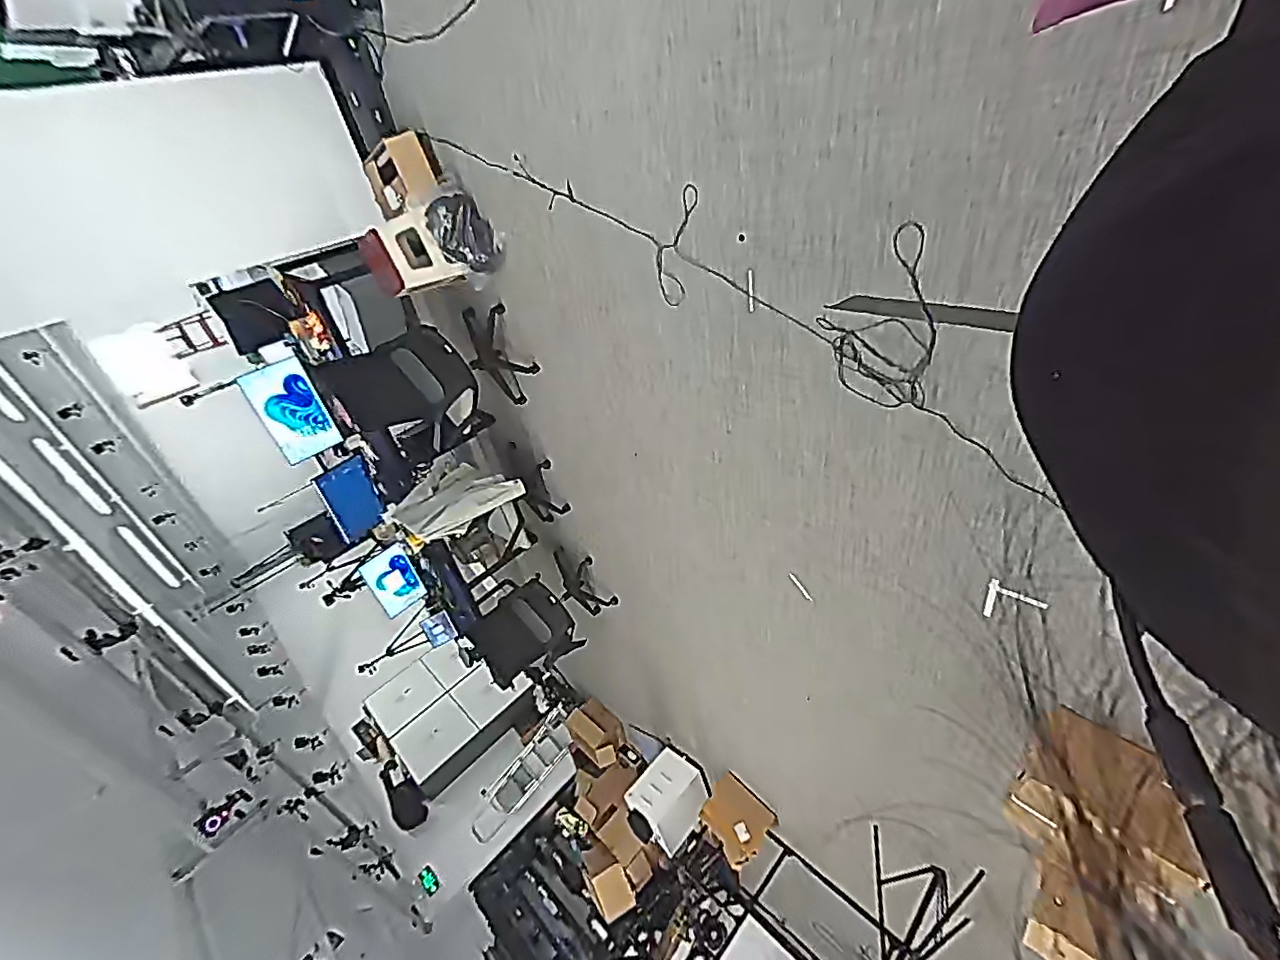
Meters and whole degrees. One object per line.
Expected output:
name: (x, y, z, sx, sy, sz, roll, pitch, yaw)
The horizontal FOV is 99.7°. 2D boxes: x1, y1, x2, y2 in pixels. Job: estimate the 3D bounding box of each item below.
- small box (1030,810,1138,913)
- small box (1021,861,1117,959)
small box: (1.278, 1.103, 1.556, 0.179, 0.176, 0.168, 31, 142, 33)
small box: (1.172, 1.200, 1.478, 0.168, 0.176, 0.179, 18, 135, 45)
